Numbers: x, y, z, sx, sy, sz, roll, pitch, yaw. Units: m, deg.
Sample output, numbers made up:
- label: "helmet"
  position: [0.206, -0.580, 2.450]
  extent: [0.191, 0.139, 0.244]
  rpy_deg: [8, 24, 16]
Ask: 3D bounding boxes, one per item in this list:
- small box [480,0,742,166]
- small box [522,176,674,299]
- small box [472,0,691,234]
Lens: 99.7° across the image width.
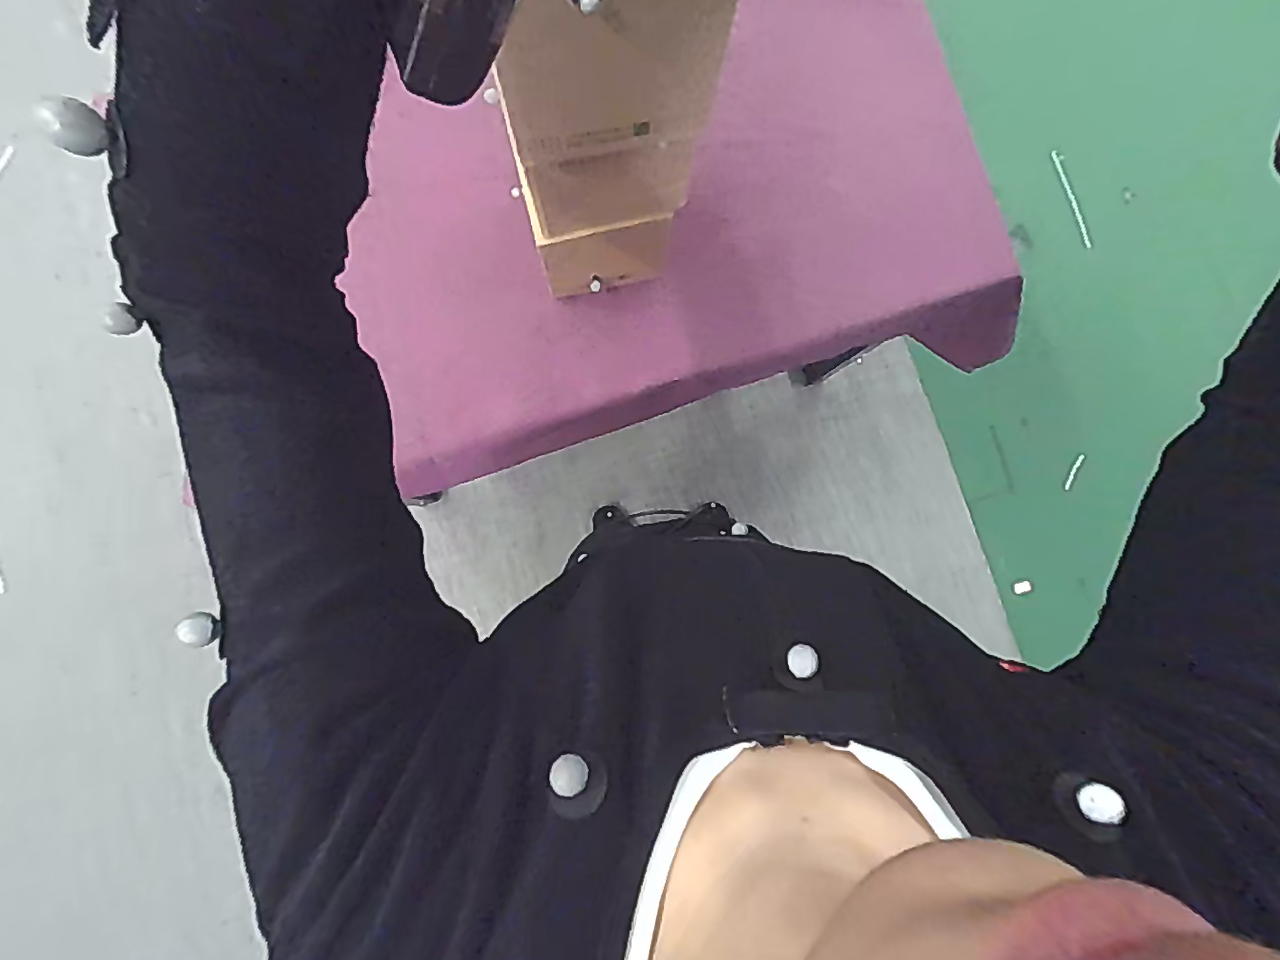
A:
- label: "small box"
  position: [-0.034, -0.367, 0.383]
  extent: [0.168, 0.176, 0.179]
  rpy_deg: [-13, 86, -3]
- label: "small box"
  position: [-0.062, -0.365, 0.708]
  extent: [0.168, 0.176, 0.179]
  rpy_deg: [-14, 88, -3]
- label: "small box"
  position: [-0.048, -0.378, 0.548]
  extent: [0.179, 0.176, 0.168]
  rpy_deg: [-15, 87, -3]
